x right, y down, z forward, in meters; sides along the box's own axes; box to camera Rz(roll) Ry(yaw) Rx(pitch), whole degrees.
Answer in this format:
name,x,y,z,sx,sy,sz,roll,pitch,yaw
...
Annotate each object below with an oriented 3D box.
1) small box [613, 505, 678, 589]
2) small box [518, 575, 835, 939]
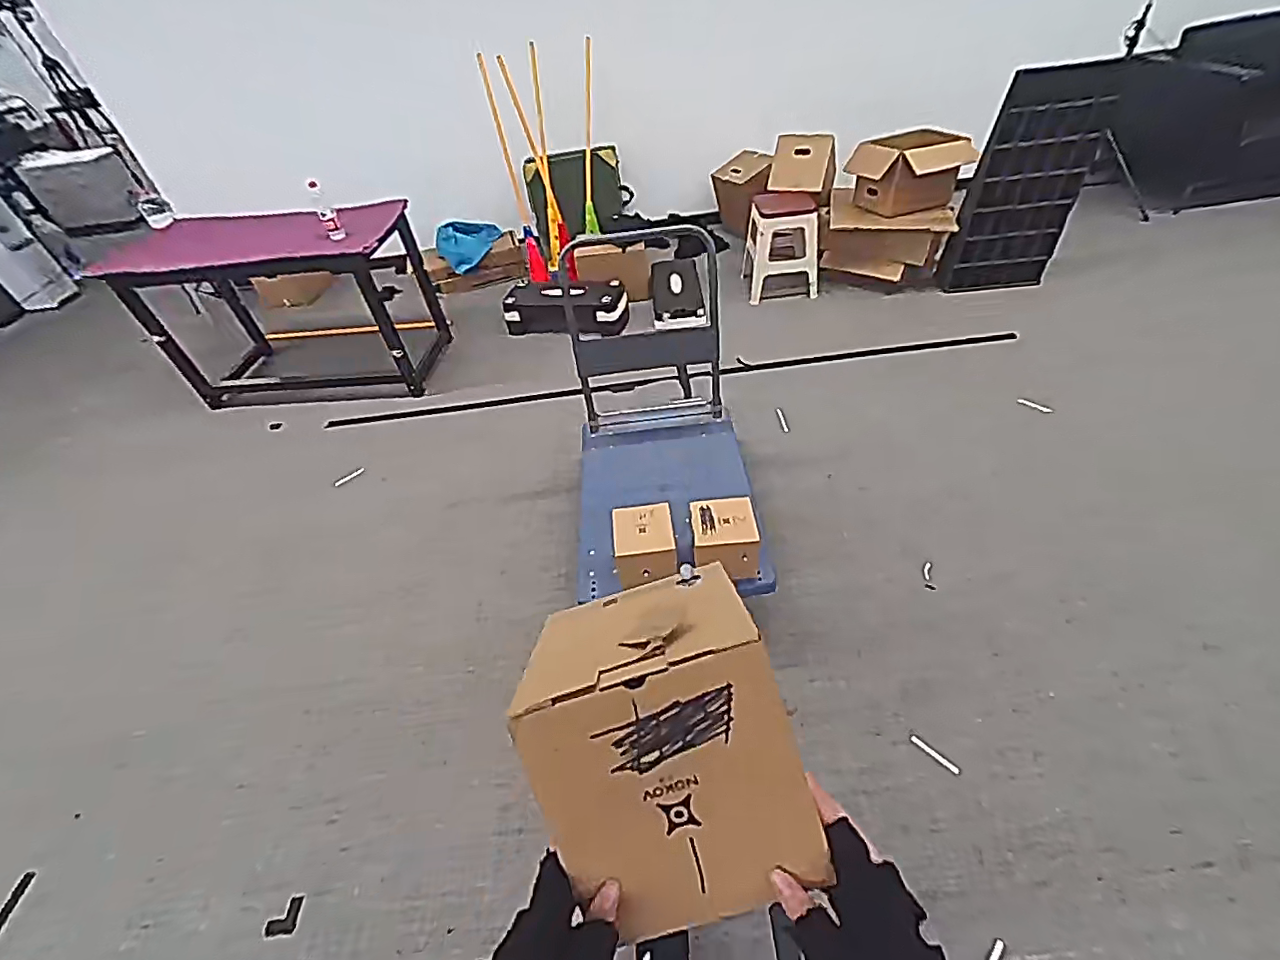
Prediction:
name,x,y,z,sx,sy,sz,roll,pitch,yaw
small box,0.016,0.199,1.560,0.168,0.176,0.179,-7,43,1
small box,0.024,0.187,0.423,0.168,0.179,0.176,-18,7,2
